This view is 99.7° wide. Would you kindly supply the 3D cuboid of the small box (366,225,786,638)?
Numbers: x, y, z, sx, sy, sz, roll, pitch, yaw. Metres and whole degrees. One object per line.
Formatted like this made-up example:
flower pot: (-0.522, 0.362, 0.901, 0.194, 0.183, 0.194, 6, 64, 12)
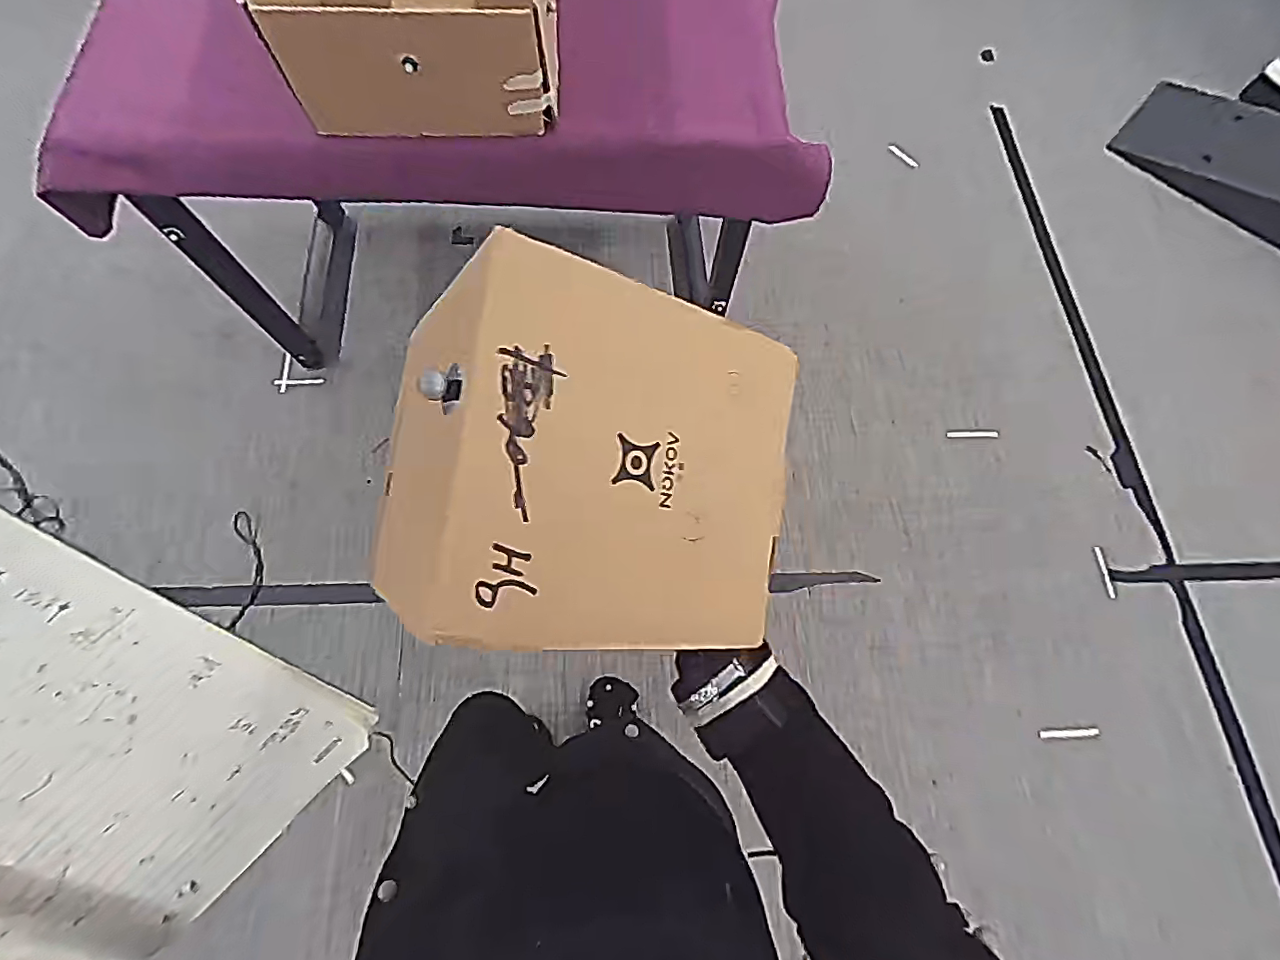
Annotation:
small box: (-0.042, -0.008, 0.317, 0.179, 0.176, 0.168, 11, 82, -34)
